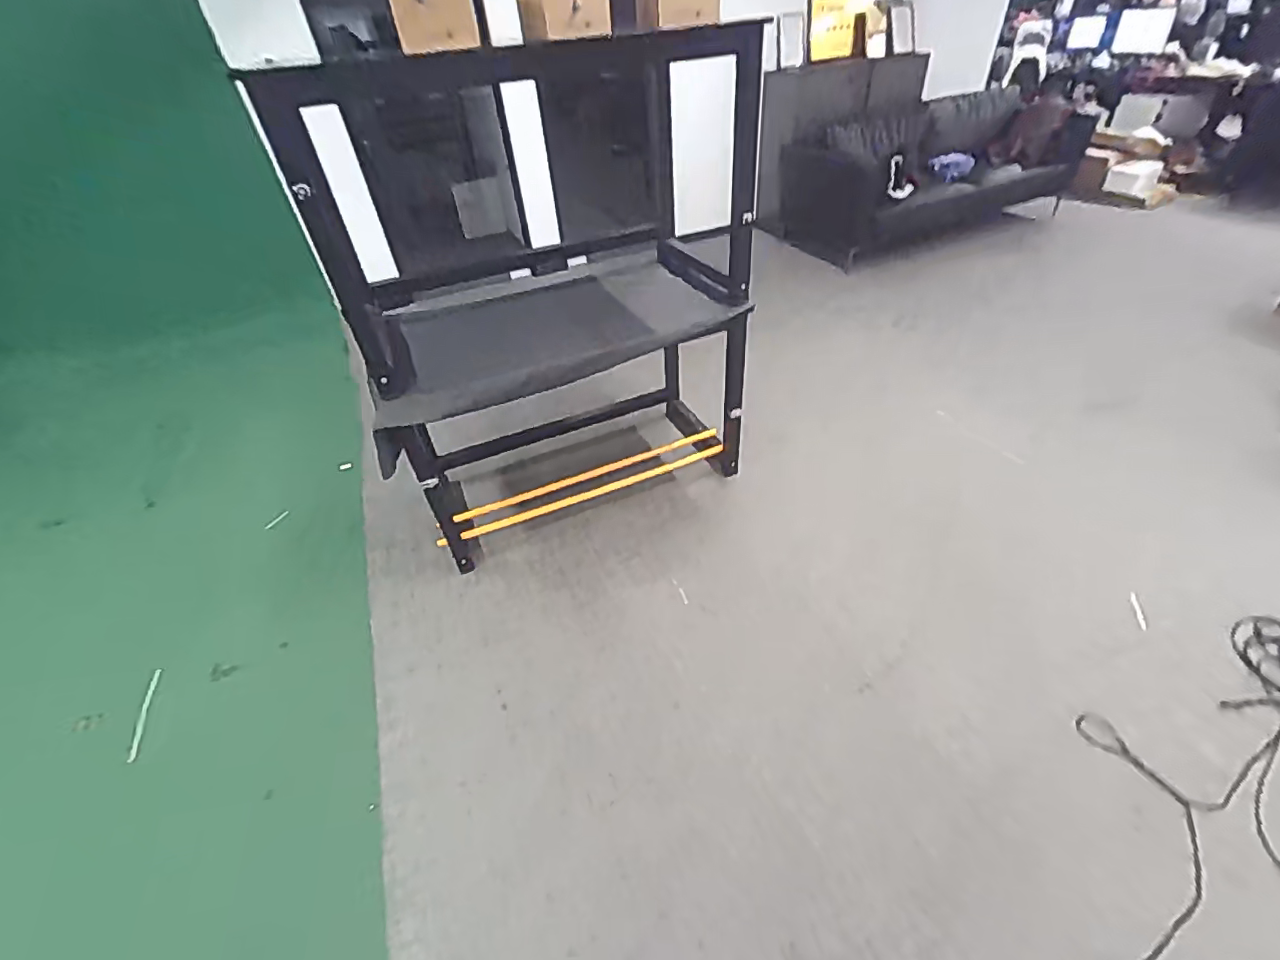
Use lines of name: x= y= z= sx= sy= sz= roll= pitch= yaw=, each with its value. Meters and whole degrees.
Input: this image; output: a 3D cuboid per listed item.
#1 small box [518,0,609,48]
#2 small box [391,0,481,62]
small box: x=-0.188 y=-1.140 z=1.282 sx=0.168 sy=0.176 sz=0.179 roll=-23 pitch=43 yaw=-19
small box: x=-0.462 y=-1.056 z=1.216 sx=0.168 sy=0.176 sz=0.179 roll=-14 pitch=40 yaw=-10
